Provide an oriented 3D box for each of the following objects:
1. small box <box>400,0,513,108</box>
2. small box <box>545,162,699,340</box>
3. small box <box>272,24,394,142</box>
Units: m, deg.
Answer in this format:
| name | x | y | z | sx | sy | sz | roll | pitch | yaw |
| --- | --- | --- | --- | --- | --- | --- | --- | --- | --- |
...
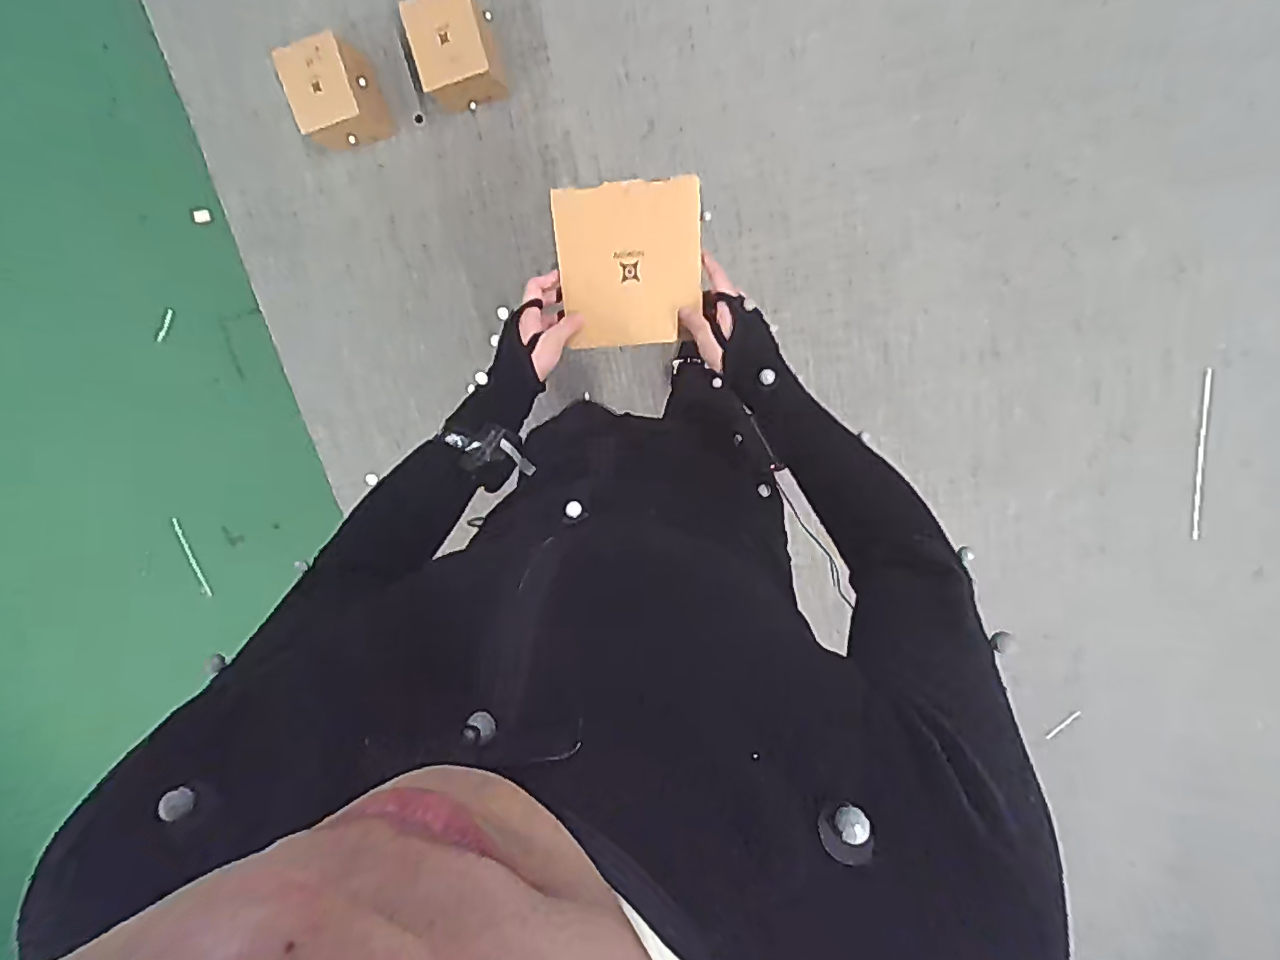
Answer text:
| name | x | y | z | sx | sy | sz | roll | pitch | yaw |
| --- | --- | --- | --- | --- | --- | --- | --- | --- | --- |
| small box | -0.419 | -1.011 | 1.260 | 0.168 | 0.176 | 0.179 | -10 | 108 | 11 |
| small box | -0.010 | -0.278 | 0.677 | 0.168 | 0.176 | 0.179 | -3 | 110 | 5 |
| small box | -0.737 | -0.953 | 1.322 | 0.168 | 0.176 | 0.179 | -10 | 107 | 10 |
